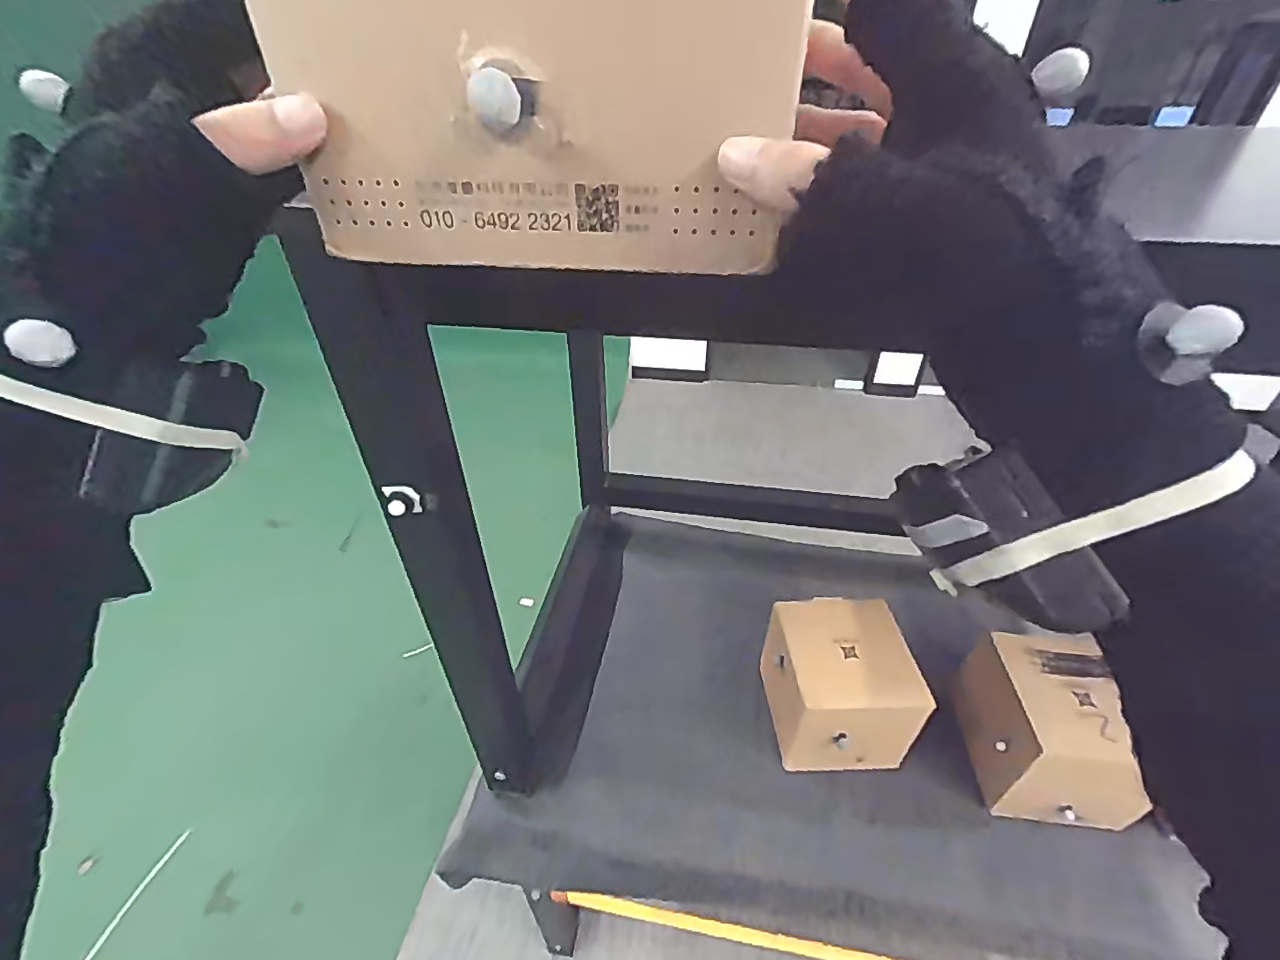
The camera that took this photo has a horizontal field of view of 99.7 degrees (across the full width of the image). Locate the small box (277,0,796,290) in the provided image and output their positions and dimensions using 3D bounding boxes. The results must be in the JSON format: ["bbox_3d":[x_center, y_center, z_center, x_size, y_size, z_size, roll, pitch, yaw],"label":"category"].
[{"bbox_3d":[-0.027,-0.191,0.219,0.168,0.176,0.179,4,38,6],"label":"small box"}]

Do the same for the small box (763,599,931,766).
[{"bbox_3d":[0.283,0.295,0.785,0.168,0.176,0.179,-1,36,-1],"label":"small box"}]
